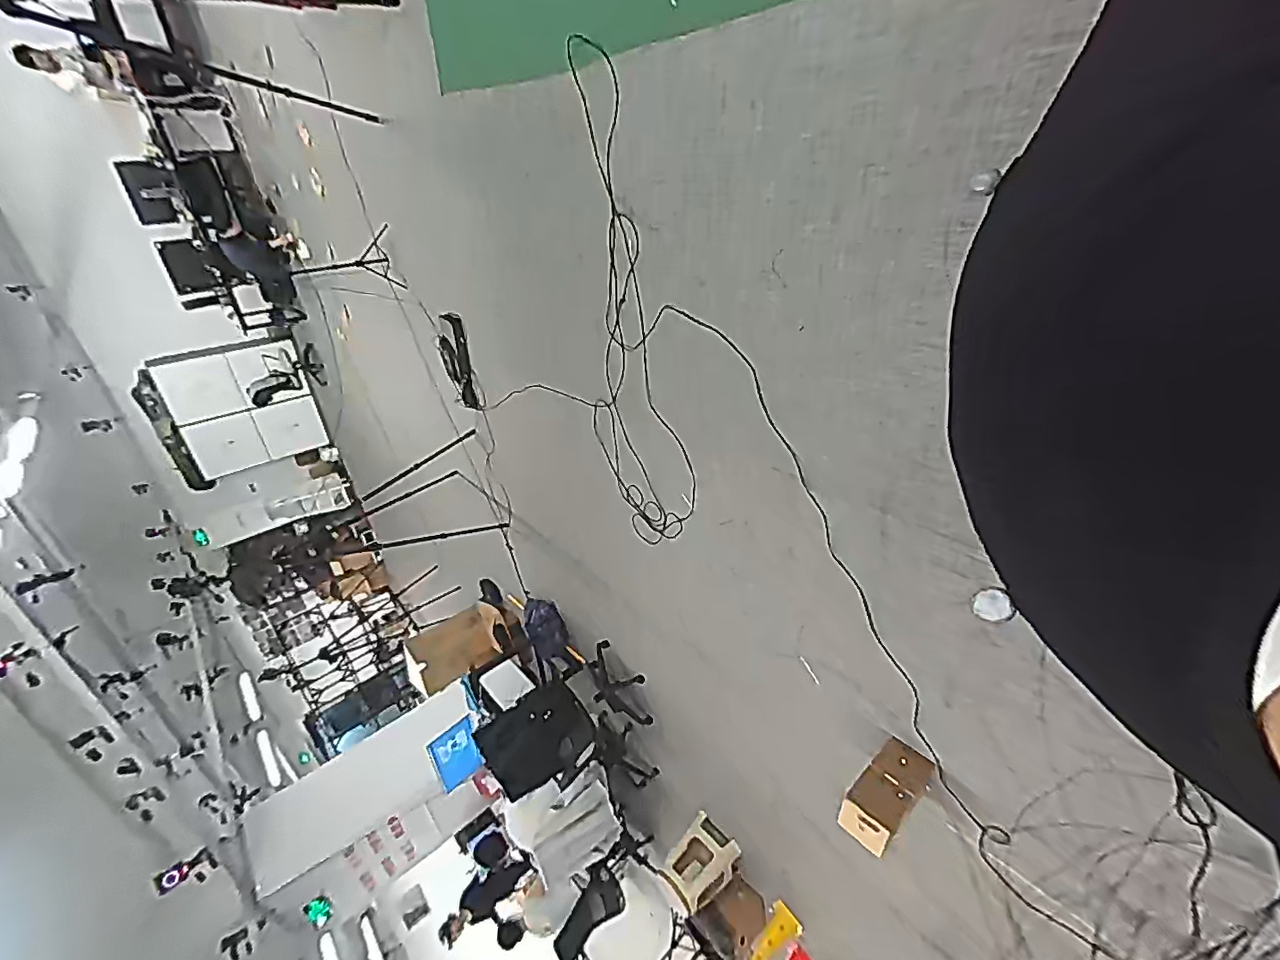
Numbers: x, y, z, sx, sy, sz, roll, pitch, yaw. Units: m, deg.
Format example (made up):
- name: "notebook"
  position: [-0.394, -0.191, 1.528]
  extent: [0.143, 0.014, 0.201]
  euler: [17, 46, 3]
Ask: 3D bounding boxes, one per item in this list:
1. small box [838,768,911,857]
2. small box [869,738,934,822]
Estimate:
- name: "small box"
  position: [0.833, 1.168, 1.915]
  extent: [0.168, 0.176, 0.179]
  euler: [29, 134, 40]
- name: "small box"
  position: [0.960, 1.104, 2.003]
  extent: [0.168, 0.176, 0.179]
  euler: [28, 131, 45]
